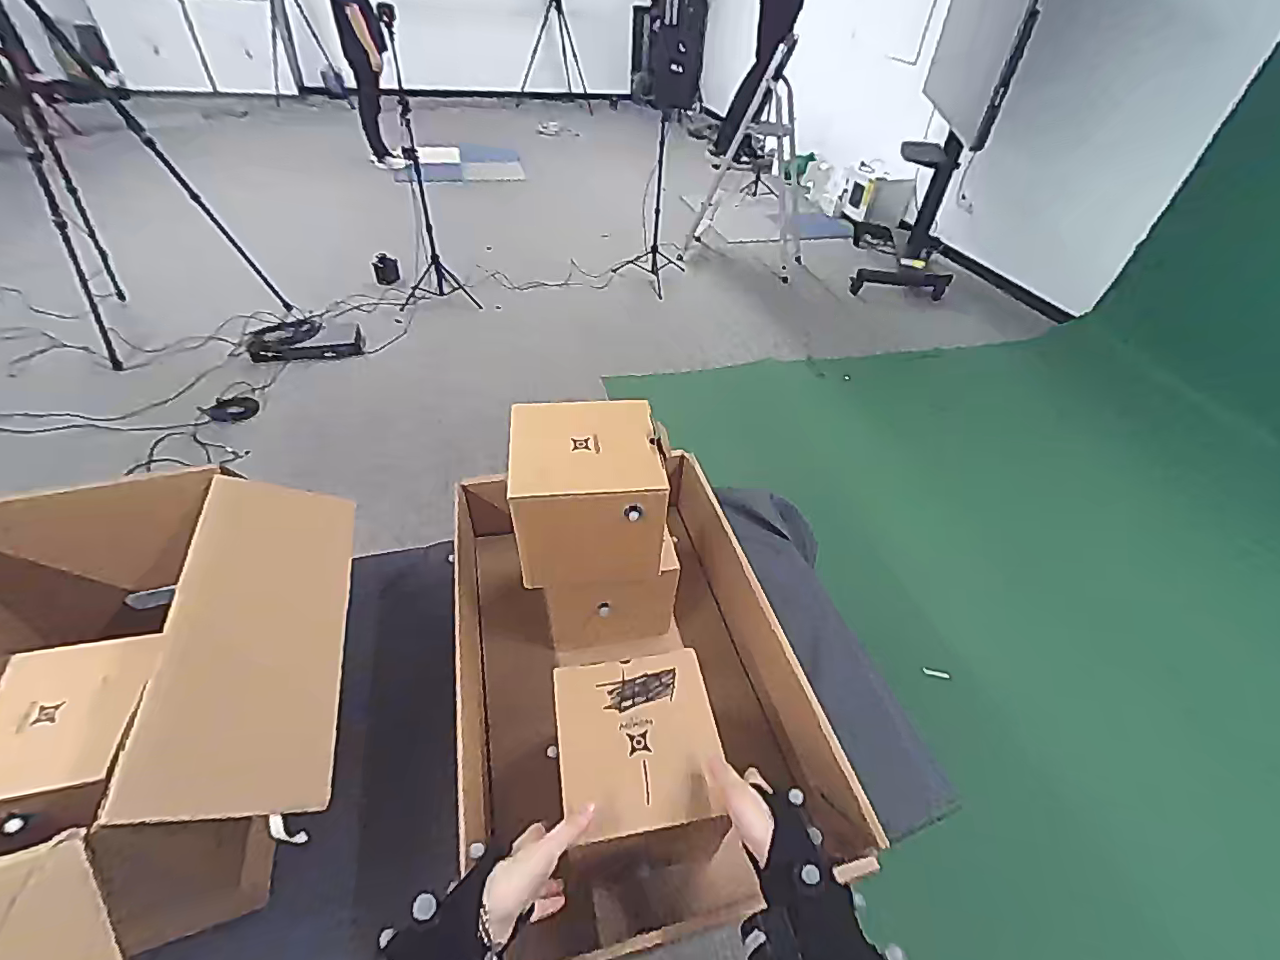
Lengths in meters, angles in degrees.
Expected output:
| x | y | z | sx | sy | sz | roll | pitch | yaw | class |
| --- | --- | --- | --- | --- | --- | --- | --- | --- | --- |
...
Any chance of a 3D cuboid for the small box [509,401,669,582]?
| x | y | z | sx | sy | sz | roll | pitch | yaw | class |
| --- | --- | --- | --- | --- | --- | --- | --- | --- | --- |
| -0.067 | 0.017 | 0.693 | 0.179 | 0.176 | 0.168 | -3 | 45 | -8 | small box |
